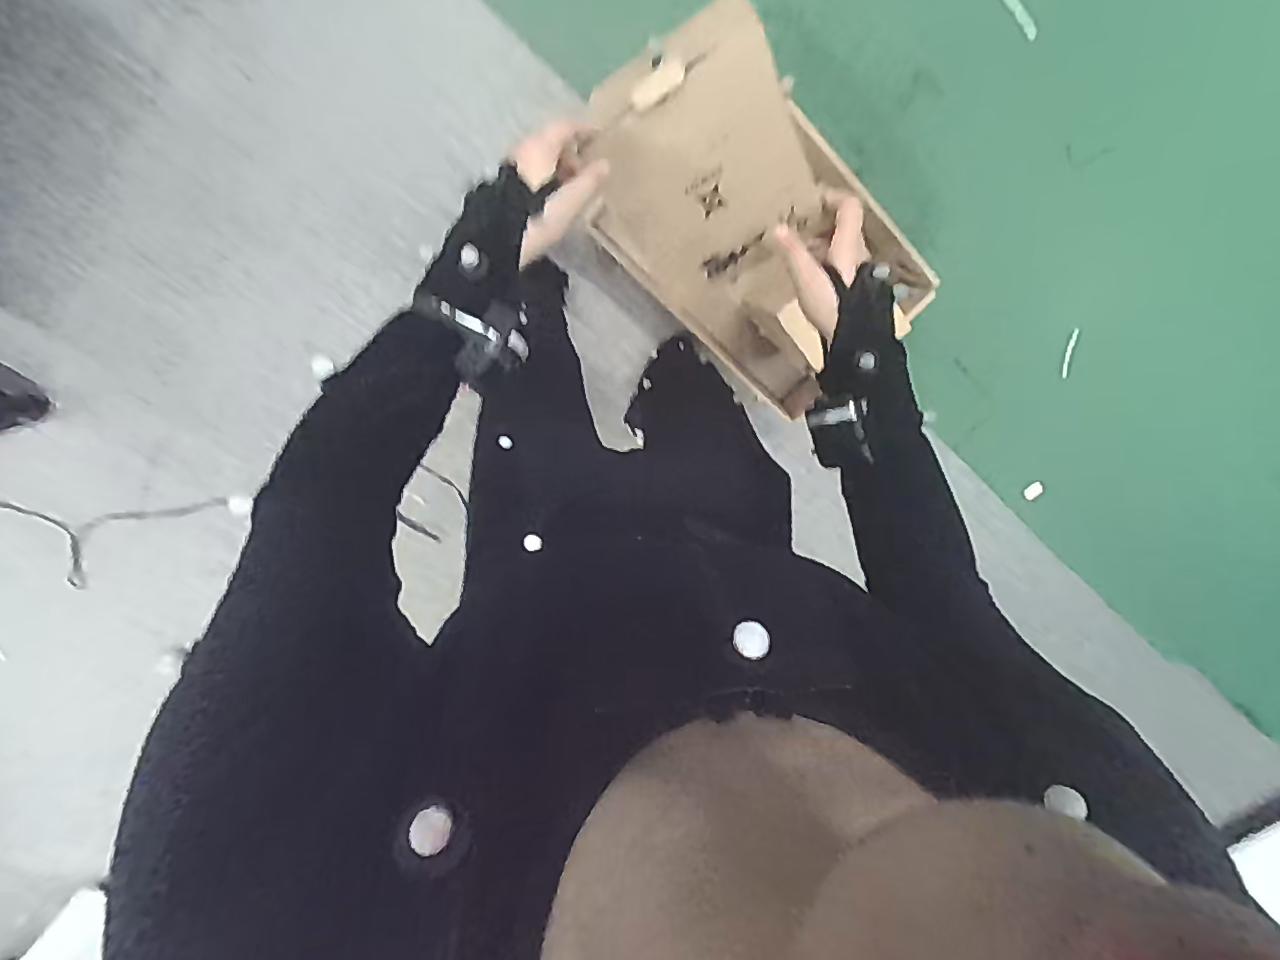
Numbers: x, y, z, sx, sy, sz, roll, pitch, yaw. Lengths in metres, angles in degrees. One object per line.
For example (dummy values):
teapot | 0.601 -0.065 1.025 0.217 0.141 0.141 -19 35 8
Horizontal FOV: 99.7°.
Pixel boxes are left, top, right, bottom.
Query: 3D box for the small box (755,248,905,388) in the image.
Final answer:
small box | 0.336 -0.302 0.984 0.168 0.176 0.179 -38 109 15

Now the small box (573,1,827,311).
small box | 0.056 -0.305 0.513 0.168 0.176 0.179 -21 135 23

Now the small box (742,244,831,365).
small box | 0.336 -0.374 1.133 0.179 0.176 0.168 -38 109 16
